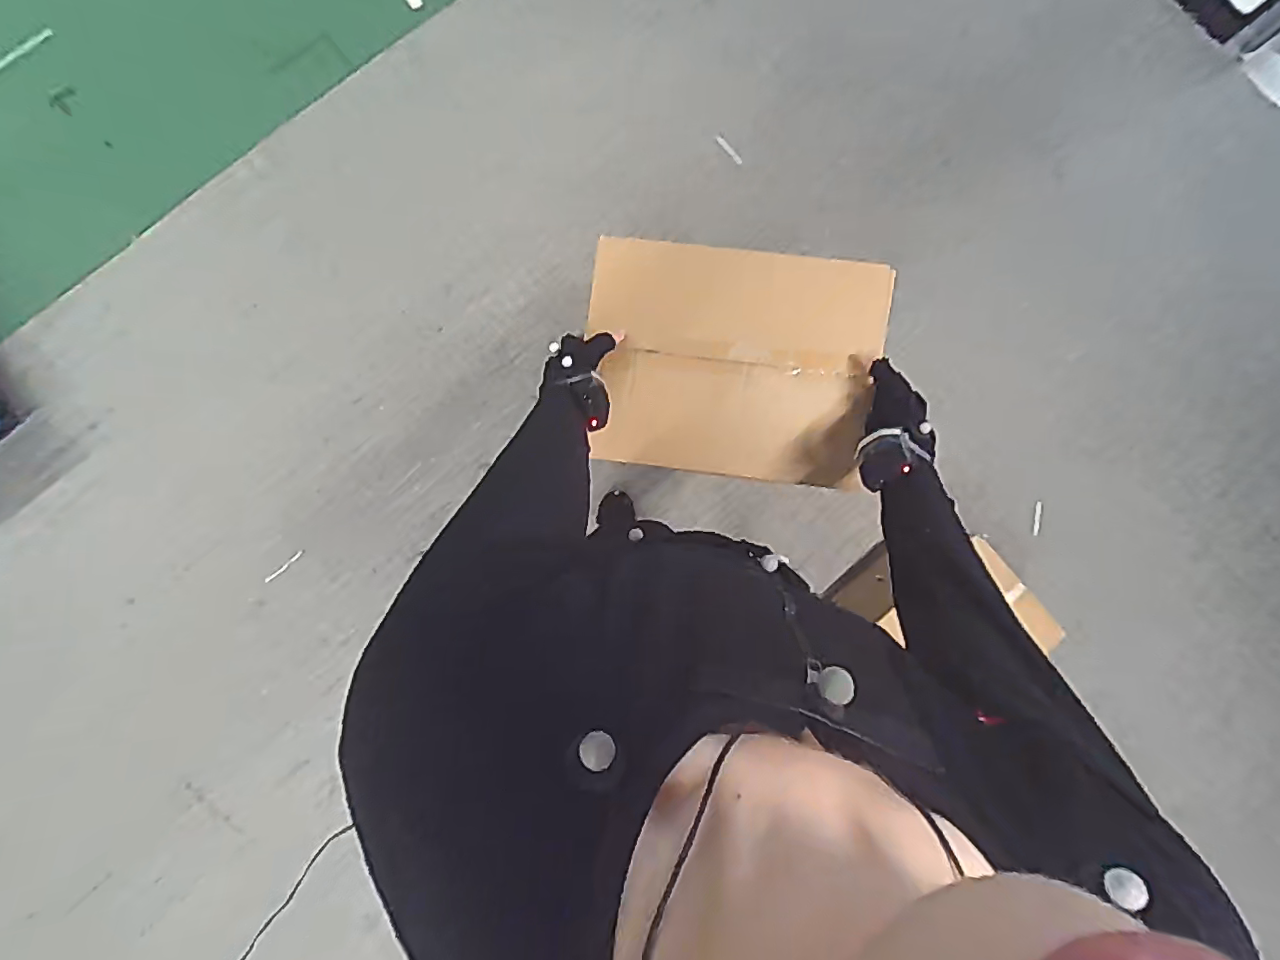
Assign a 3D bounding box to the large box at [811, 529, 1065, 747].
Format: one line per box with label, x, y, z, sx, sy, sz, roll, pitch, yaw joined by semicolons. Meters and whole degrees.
large box;0.720;0.369;1.370;0.408;0.320;0.320;-40;89;-5
